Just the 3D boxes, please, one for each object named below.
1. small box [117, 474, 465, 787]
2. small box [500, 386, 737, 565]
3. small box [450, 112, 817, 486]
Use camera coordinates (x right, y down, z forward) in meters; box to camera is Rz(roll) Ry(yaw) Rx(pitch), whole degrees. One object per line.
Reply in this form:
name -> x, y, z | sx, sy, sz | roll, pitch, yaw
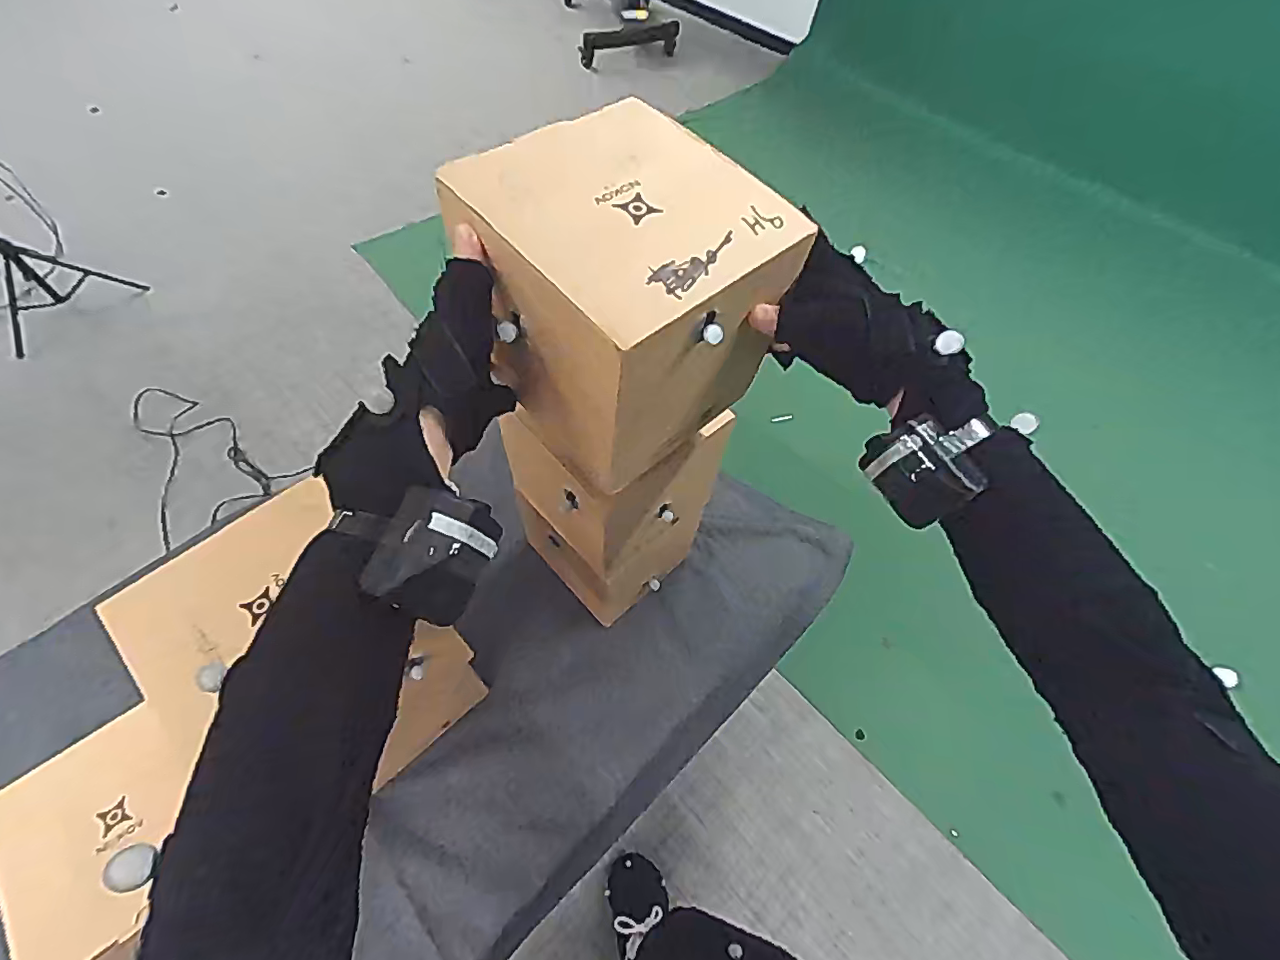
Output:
small box -> -0.275, 0.134, 0.474 | 0.168, 0.176, 0.179 | 40, 64, 21
small box -> -0.024, -0.028, 0.591 | 0.168, 0.176, 0.179 | -35, 66, -23
small box -> -0.010, -0.128, 0.406 | 0.168, 0.176, 0.179 | -37, 70, -22
